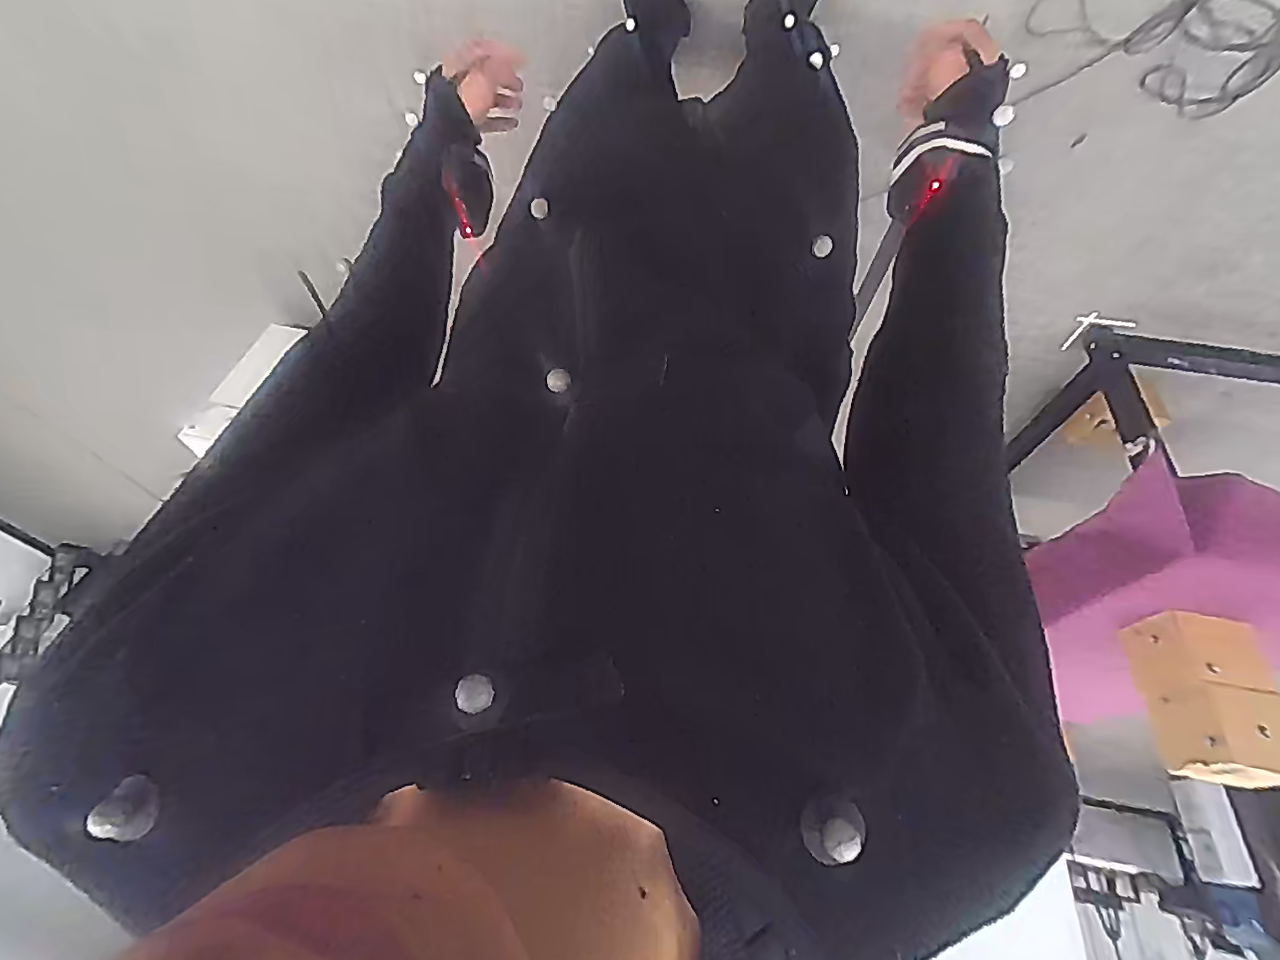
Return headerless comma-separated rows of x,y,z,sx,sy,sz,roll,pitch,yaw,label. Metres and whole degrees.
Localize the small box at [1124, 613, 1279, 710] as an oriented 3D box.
1.317,0.429,1.282,0.179,0.176,0.168,10,147,5,small box
